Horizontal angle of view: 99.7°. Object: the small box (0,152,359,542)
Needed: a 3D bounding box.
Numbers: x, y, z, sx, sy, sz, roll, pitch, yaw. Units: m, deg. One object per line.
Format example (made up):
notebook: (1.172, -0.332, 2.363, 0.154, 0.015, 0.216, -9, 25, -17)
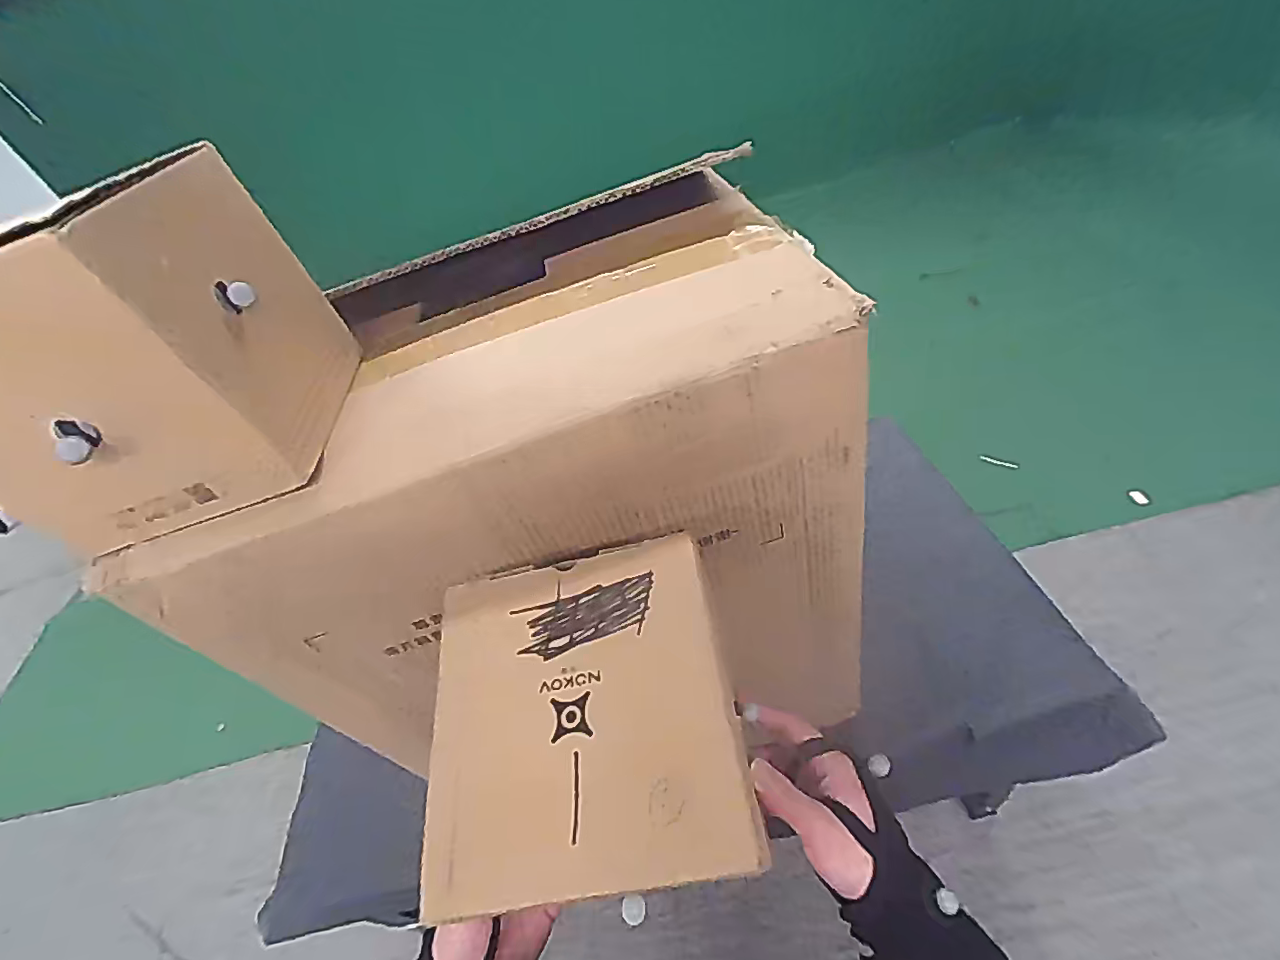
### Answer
small box: (-0.320, -0.080, 0.359, 0.168, 0.176, 0.179, -18, 44, 3)
